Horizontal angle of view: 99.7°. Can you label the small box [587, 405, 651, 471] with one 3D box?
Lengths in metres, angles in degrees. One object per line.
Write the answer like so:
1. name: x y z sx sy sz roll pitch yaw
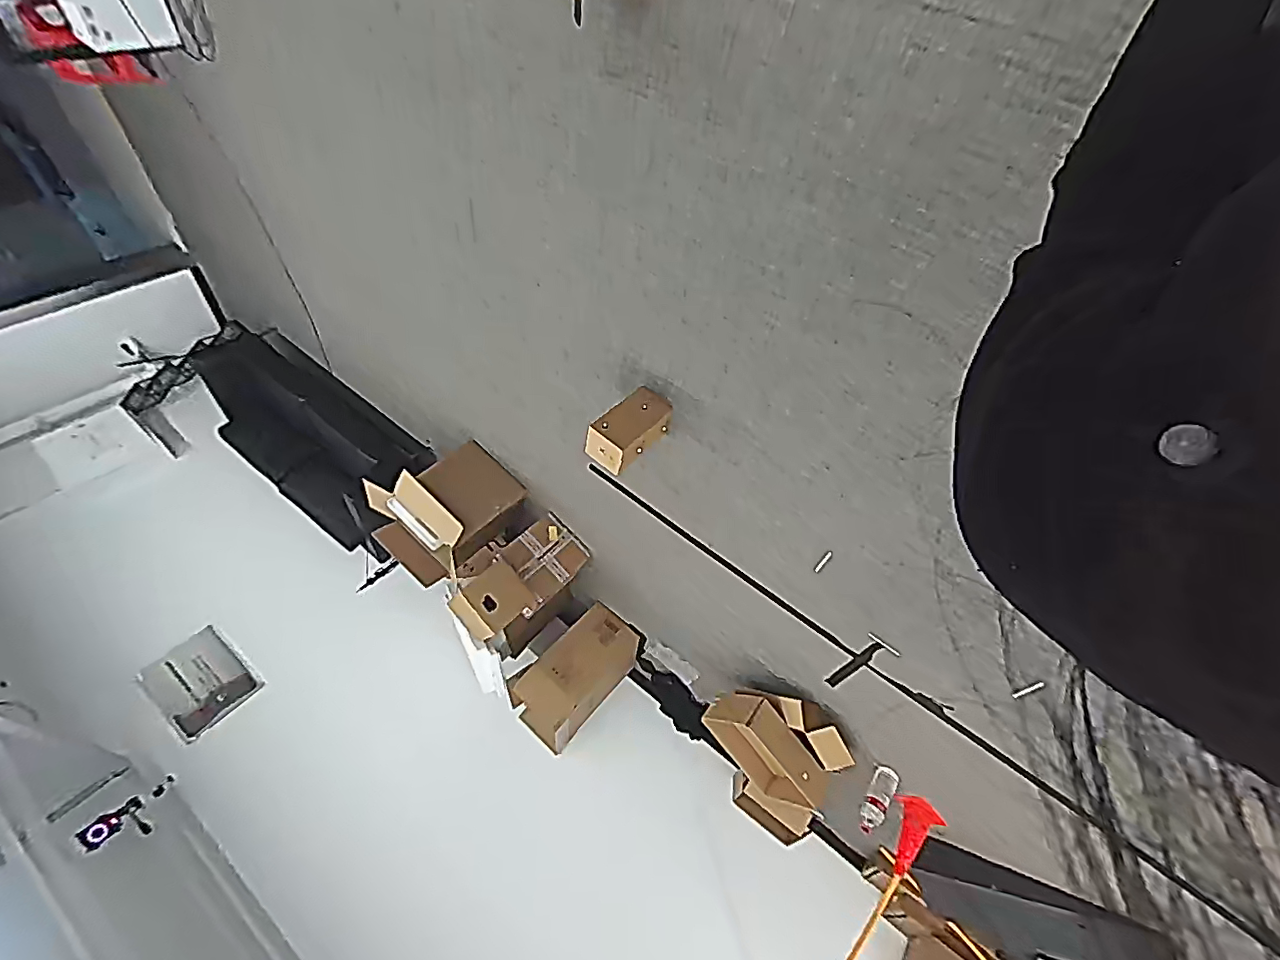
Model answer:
1. small box: -0.085 -0.174 2.159 0.179 0.176 0.168 37 146 14
